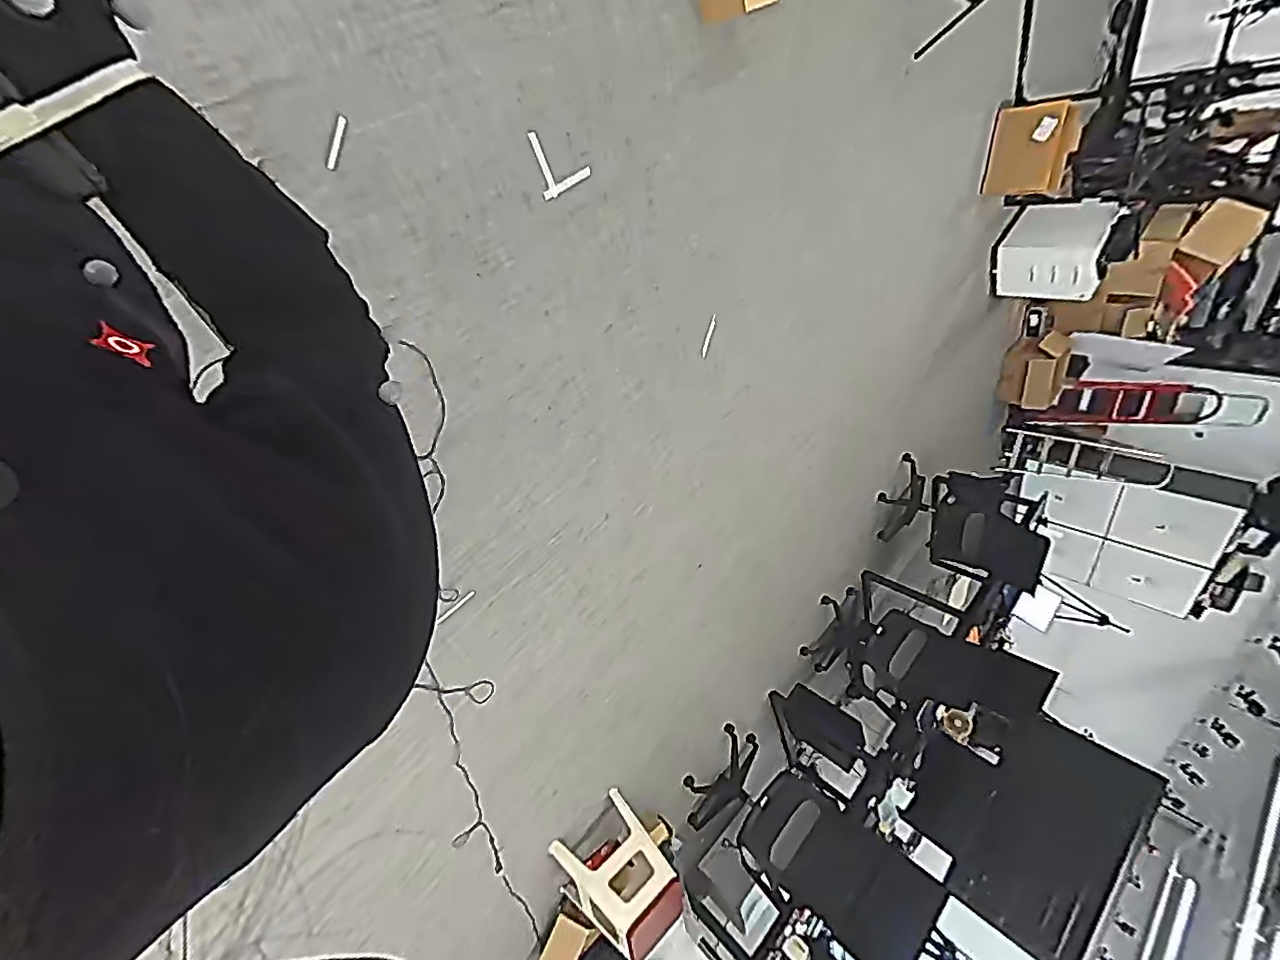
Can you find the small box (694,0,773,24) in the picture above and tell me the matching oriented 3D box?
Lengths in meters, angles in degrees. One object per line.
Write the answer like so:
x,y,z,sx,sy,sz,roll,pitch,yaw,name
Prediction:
0.264,-1.469,1.580,0.168,0.176,0.179,-40,131,-25,small box
